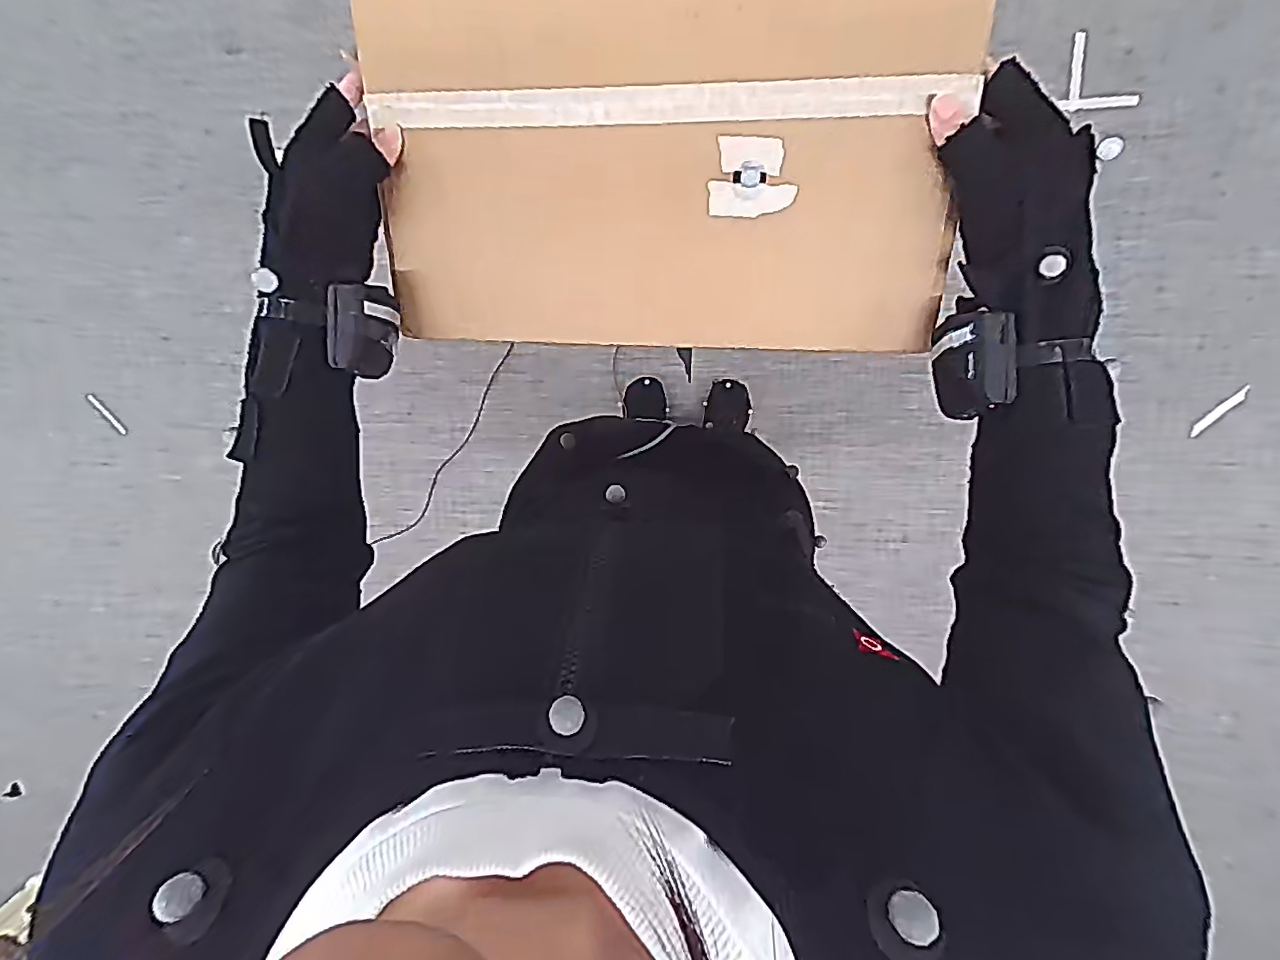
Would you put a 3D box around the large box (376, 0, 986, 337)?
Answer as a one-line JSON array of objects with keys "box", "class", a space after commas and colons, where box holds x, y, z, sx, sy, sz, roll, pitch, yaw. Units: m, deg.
[{"box": [0.032, -0.310, 0.509, 0.408, 0.320, 0.320, 3, 112, 6], "class": "large box"}]
